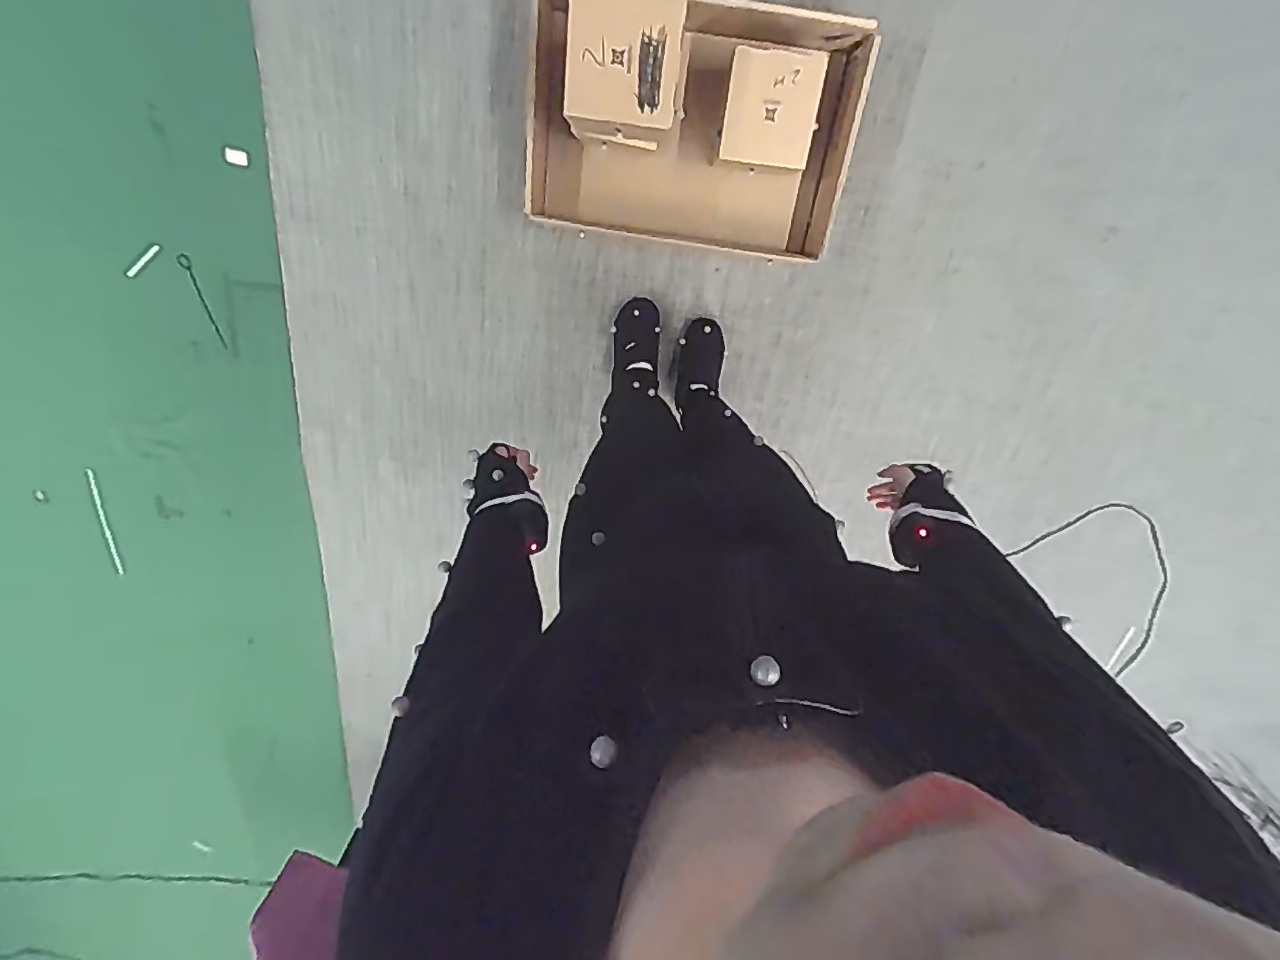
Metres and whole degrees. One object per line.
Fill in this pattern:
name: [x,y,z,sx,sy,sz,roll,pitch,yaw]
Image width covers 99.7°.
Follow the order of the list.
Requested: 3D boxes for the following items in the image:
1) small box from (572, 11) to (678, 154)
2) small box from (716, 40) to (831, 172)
small box: [-0.026,-0.747,1.040,0.168,0.176,0.179,11,115,-4]
small box: [0.245,-0.707,1.044,0.168,0.176,0.179,8,116,-1]
